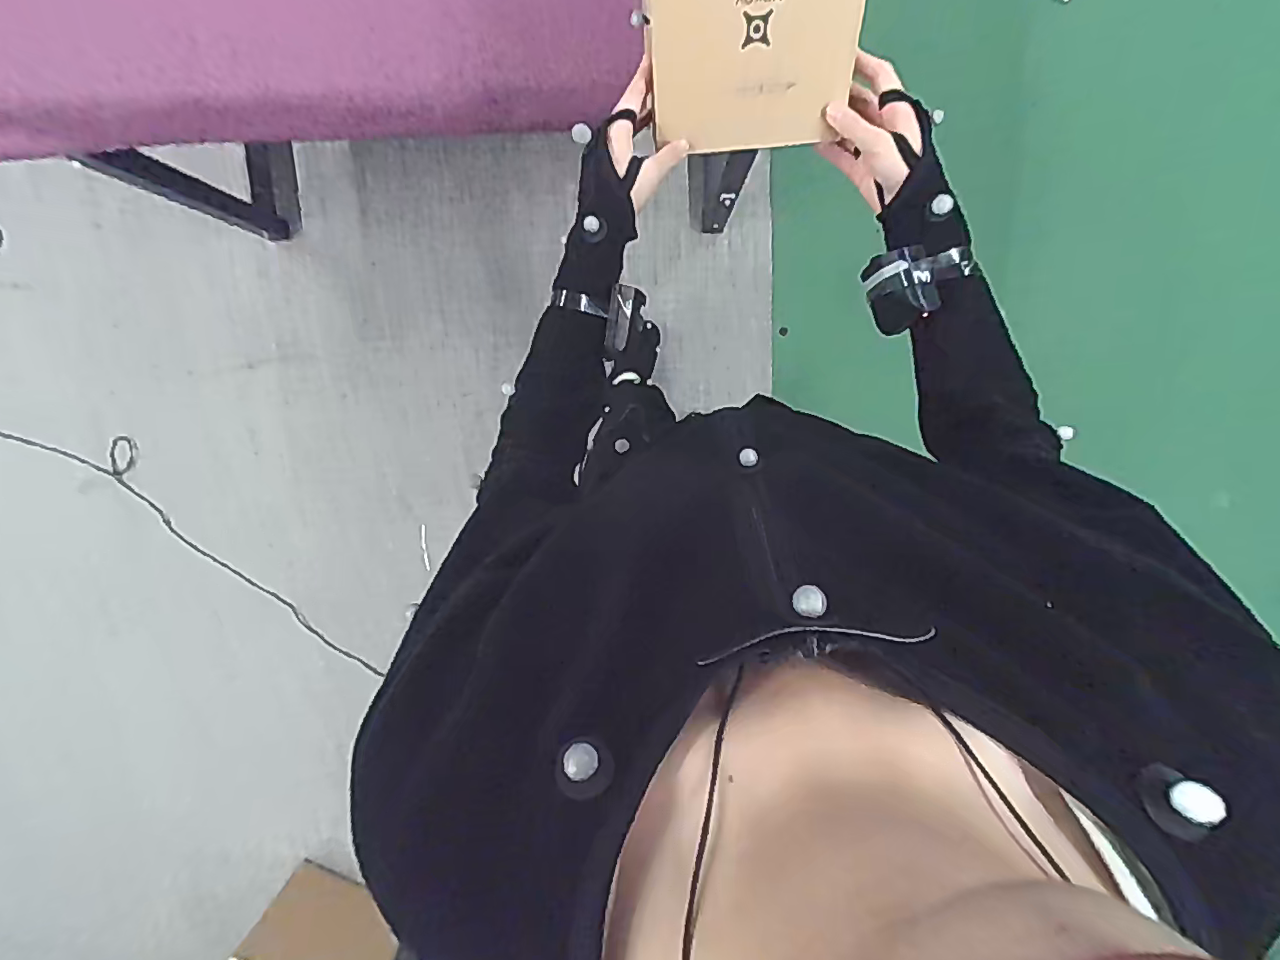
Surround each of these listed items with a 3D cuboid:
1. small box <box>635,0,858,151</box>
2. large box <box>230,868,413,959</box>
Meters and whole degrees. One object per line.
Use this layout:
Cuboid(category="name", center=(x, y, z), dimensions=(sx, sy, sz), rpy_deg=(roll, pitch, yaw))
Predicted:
Cuboid(category="small box", center=(0.081, -0.410, 0.470), dimensions=(0.168, 0.176, 0.179), rpy_deg=(-4, 135, 1))
Cuboid(category="large box", center=(-0.969, 1.468, 1.598), dimensions=(0.408, 0.320, 0.320), rpy_deg=(28, 98, -2))
